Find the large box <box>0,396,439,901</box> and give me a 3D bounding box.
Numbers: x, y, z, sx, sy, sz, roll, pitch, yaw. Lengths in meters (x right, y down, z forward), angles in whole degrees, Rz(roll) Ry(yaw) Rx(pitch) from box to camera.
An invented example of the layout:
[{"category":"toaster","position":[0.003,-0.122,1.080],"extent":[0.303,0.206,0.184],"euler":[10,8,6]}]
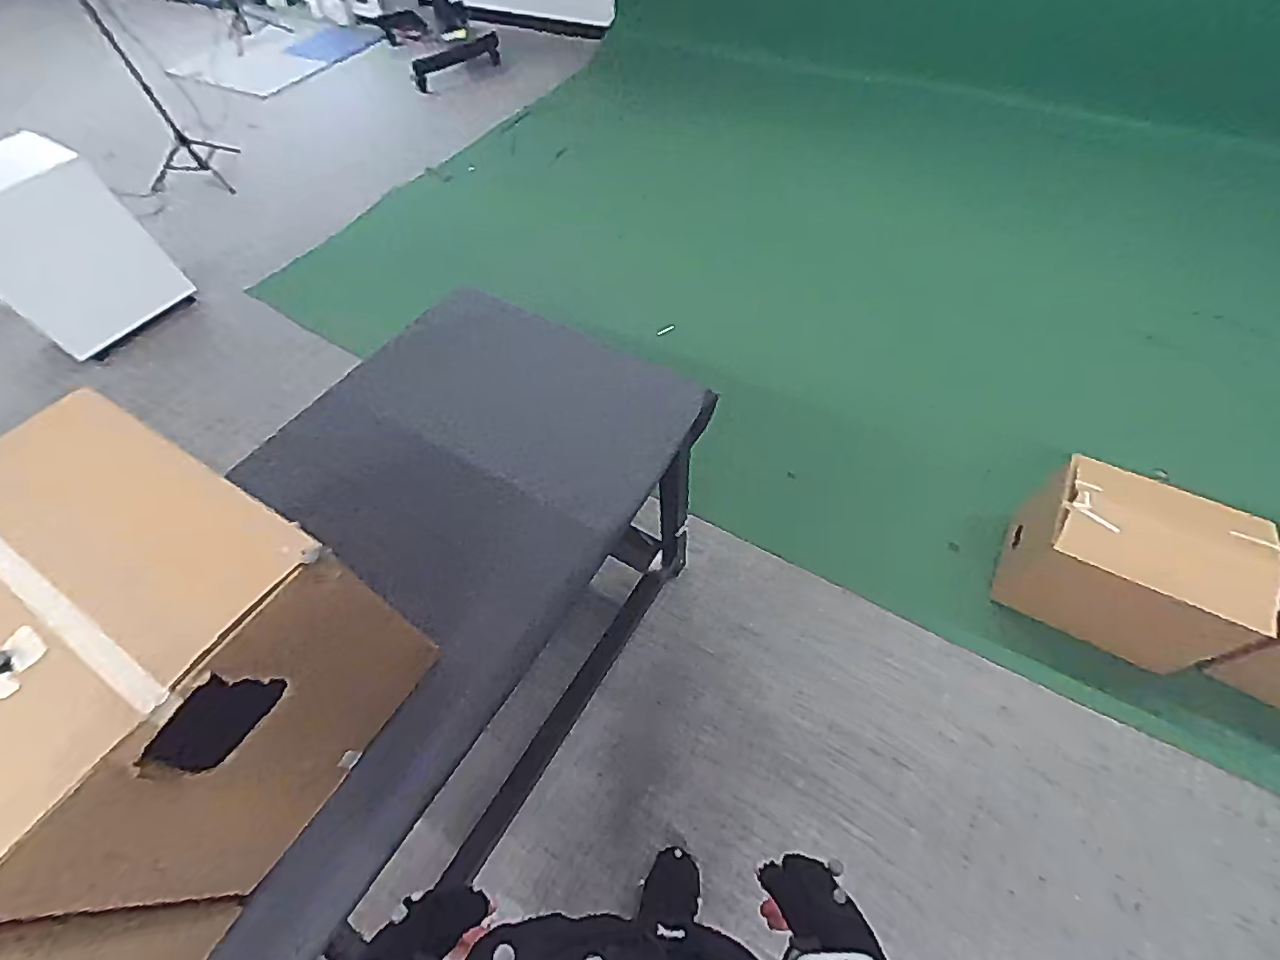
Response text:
[{"category":"large box","position":[-0.519,0.173,0.604],"extent":[0.408,0.320,0.320],"euler":[26,62,18]}]
